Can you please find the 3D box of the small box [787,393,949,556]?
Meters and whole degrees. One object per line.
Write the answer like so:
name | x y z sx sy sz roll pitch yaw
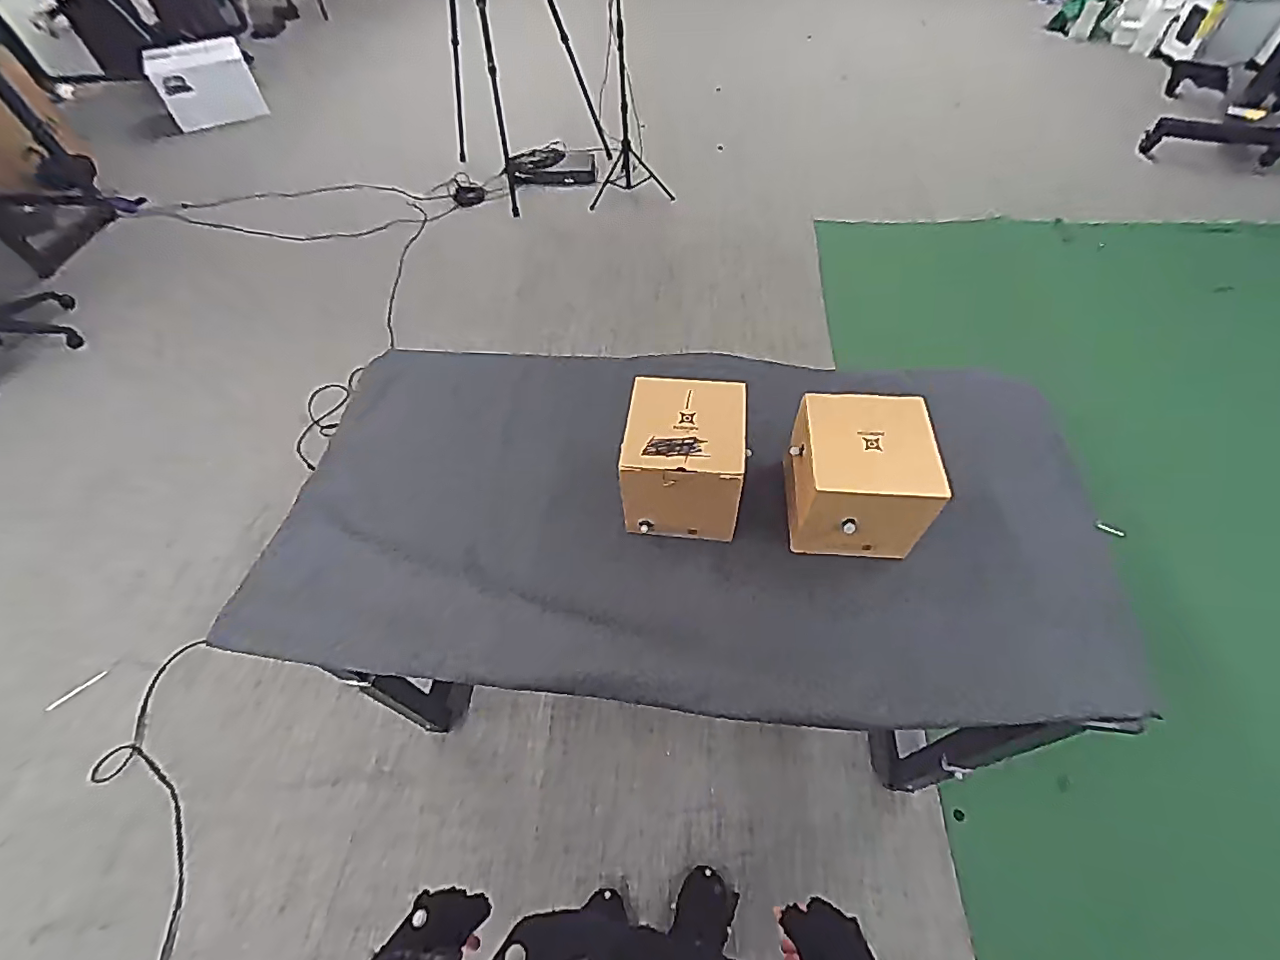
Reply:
small box | 0.312 -0.005 0.780 0.168 0.176 0.179 3 54 5

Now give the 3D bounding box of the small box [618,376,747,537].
small box | 0.067 -0.032 0.811 0.168 0.176 0.179 5 54 6
